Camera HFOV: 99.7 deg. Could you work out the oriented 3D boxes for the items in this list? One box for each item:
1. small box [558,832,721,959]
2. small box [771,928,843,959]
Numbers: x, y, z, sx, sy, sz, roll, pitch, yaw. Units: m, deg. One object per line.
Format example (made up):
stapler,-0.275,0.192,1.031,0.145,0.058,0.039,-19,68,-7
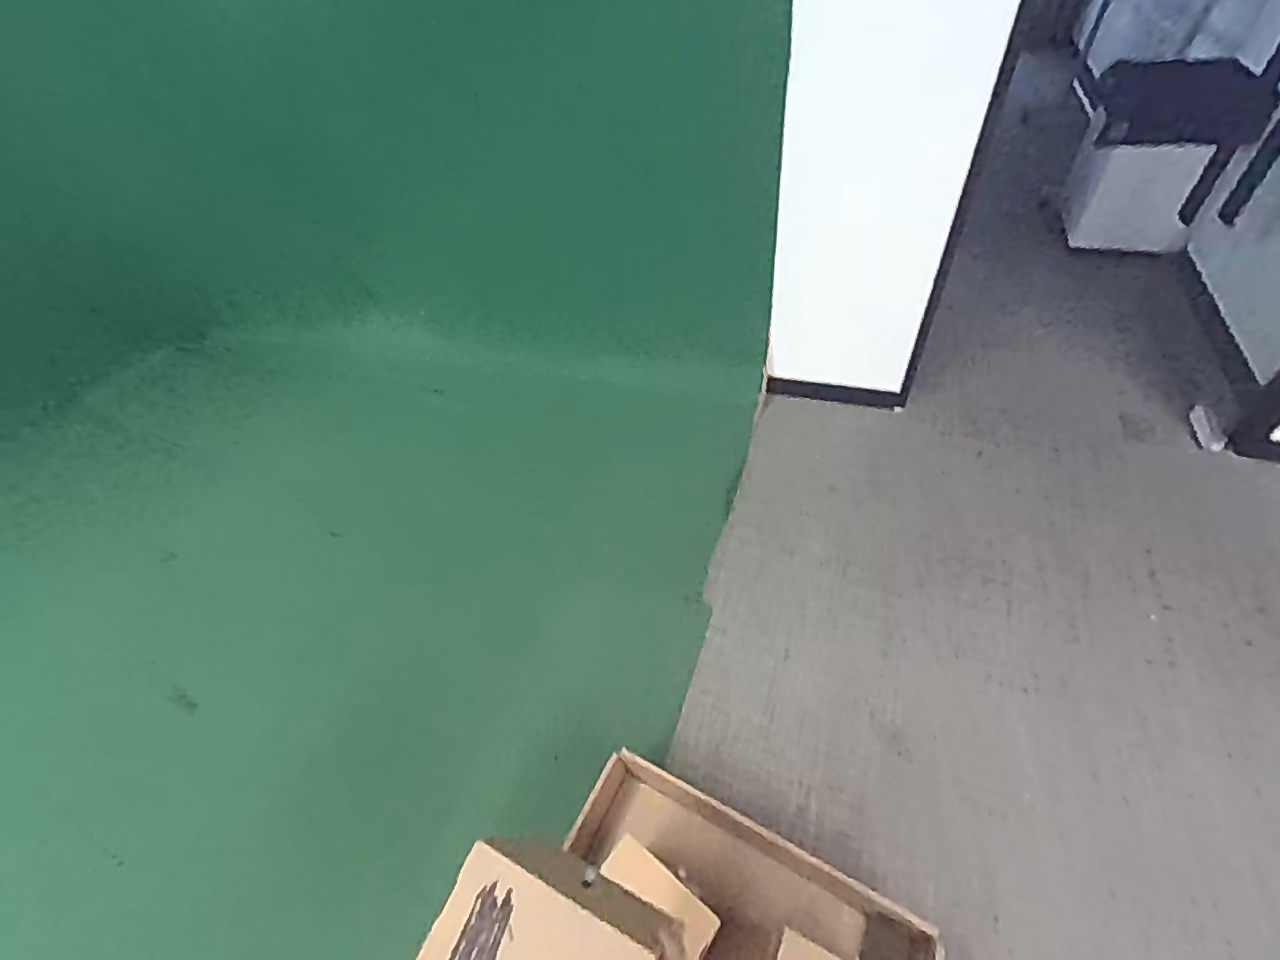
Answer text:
small box,0.005,0.683,0.818,0.179,0.176,0.168,29,59,27
small box,0.251,0.742,0.722,0.179,0.176,0.168,16,54,24
